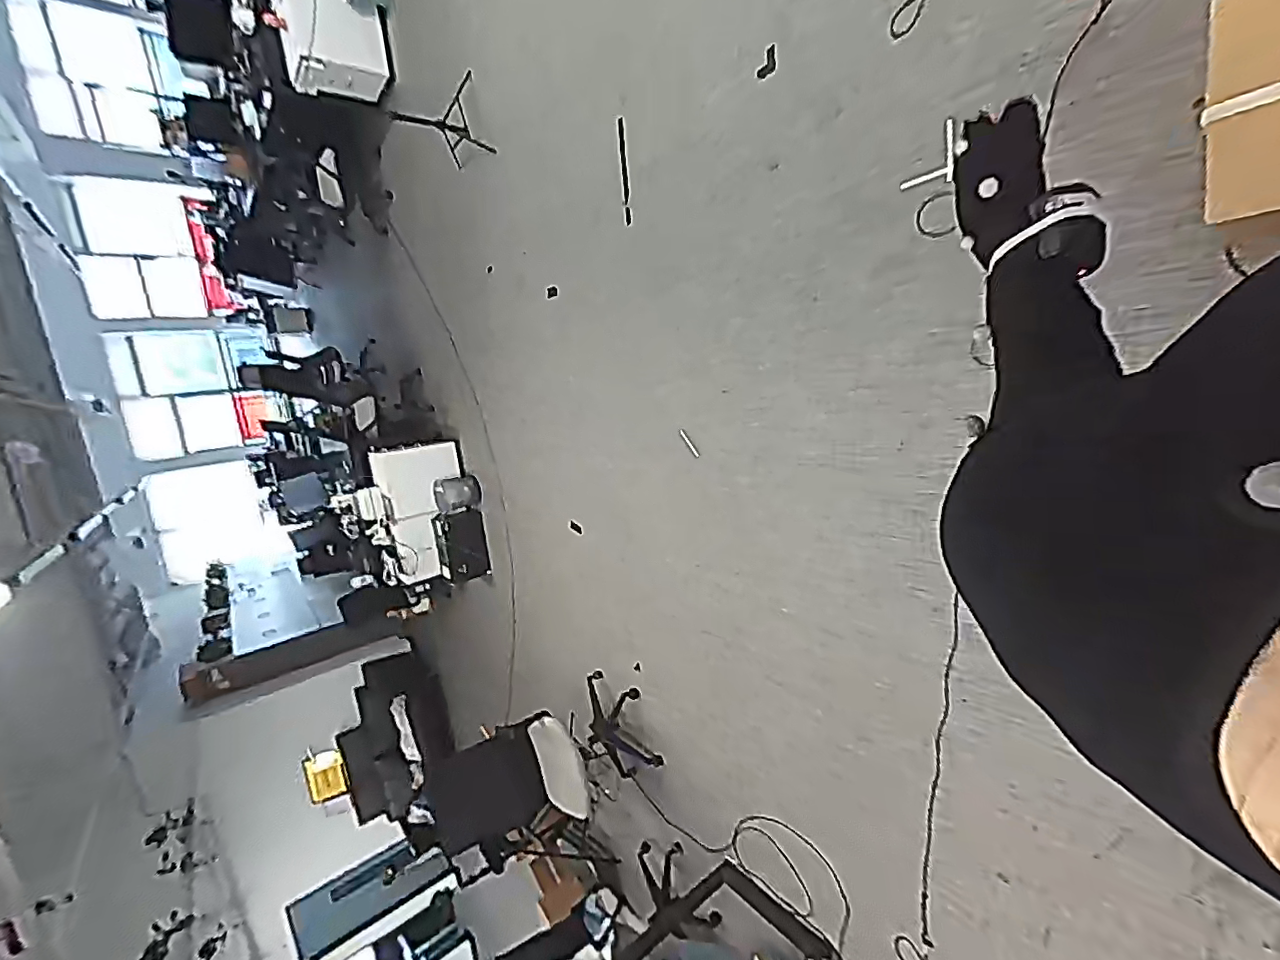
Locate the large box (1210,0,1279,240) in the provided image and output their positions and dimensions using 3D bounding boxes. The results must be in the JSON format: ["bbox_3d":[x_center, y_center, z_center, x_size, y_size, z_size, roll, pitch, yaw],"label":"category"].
[{"bbox_3d":[1.074,-0.558,0.728,0.408,0.320,0.320,4,103,51],"label":"large box"}]
